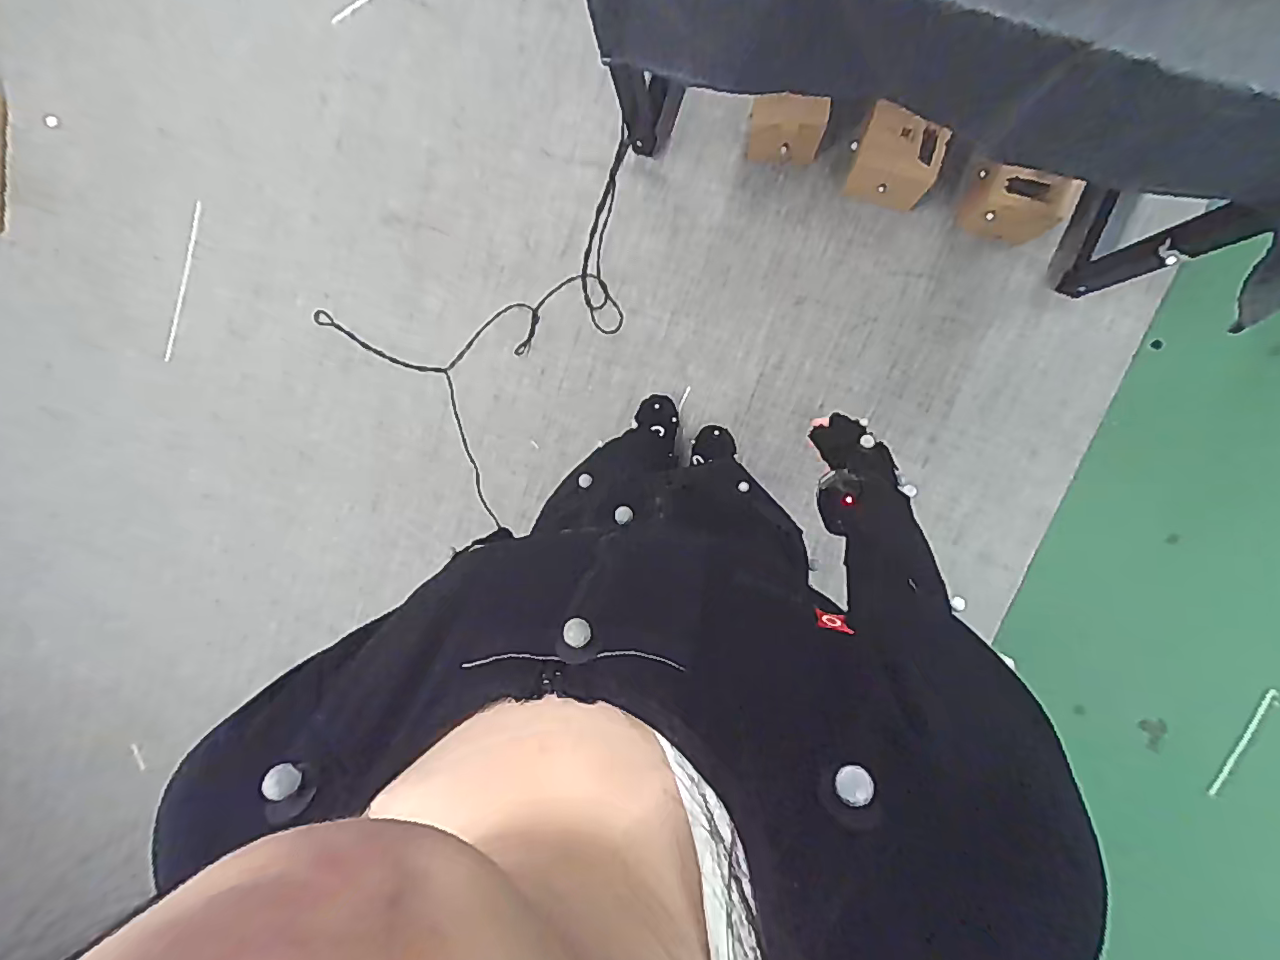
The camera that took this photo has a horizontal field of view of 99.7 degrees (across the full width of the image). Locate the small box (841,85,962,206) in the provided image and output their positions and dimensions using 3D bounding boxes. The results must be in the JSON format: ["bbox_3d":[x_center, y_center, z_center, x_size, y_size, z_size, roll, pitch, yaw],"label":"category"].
[{"bbox_3d":[0.597,-0.766,1.259,0.179,0.176,0.168,19,98,5],"label":"small box"}]

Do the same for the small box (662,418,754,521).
[{"bbox_3d":[0.168,-0.024,1.404,0.179,0.176,0.168,-30,65,-13],"label":"small box"}]
